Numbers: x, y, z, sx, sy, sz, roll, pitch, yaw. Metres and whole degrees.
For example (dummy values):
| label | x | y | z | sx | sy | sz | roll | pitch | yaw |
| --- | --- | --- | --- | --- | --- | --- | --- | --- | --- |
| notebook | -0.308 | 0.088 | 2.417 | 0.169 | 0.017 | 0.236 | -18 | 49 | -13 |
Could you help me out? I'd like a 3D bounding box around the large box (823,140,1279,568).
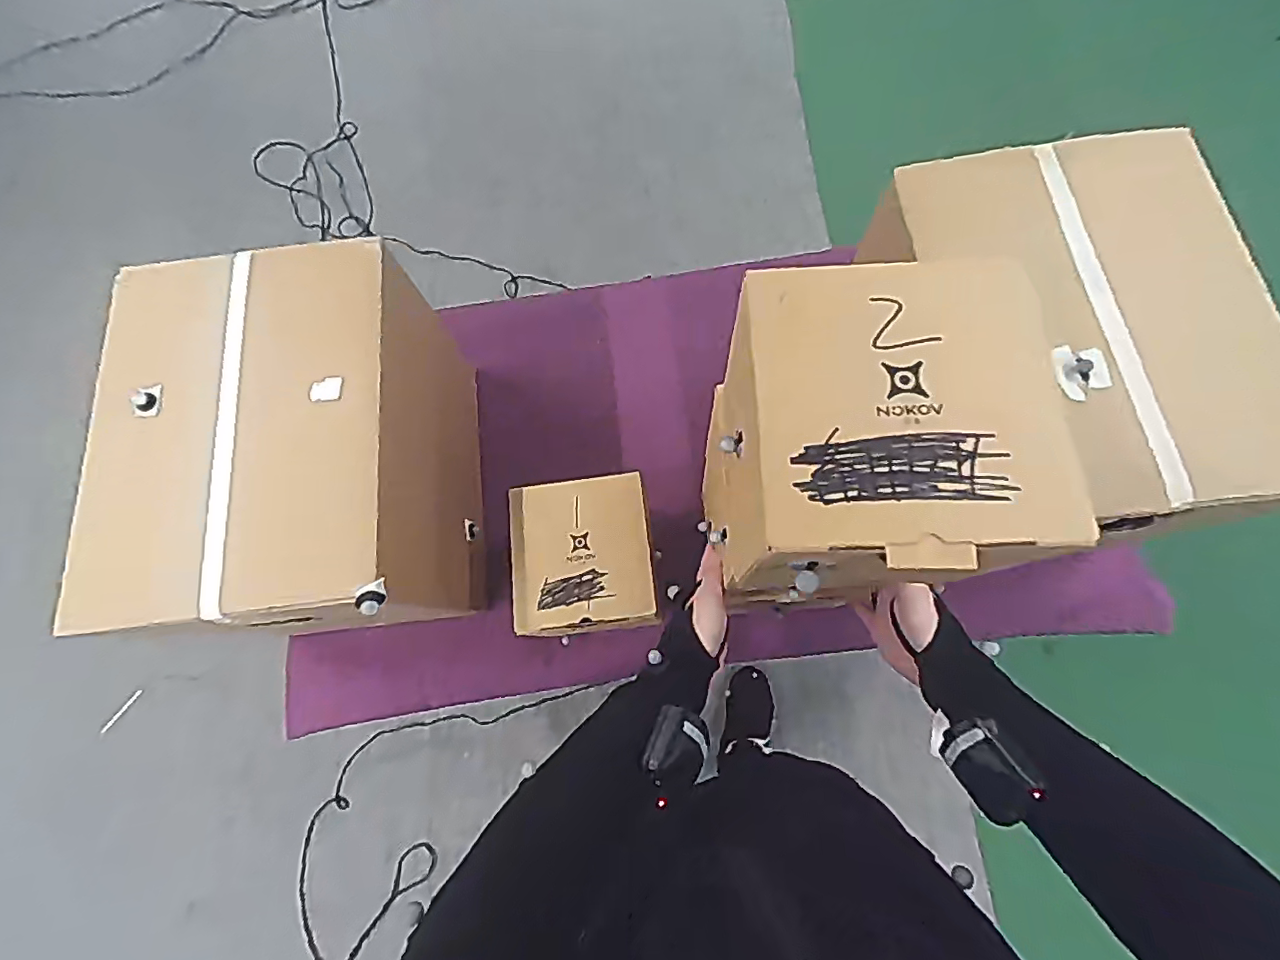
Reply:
| label | x | y | z | sx | sy | sz | roll | pitch | yaw |
| --- | --- | --- | --- | --- | --- | --- | --- | --- | --- |
| large box | 0.456 | -0.120 | 0.671 | 0.320 | 0.320 | 0.408 | -7 | 74 | 3 |
